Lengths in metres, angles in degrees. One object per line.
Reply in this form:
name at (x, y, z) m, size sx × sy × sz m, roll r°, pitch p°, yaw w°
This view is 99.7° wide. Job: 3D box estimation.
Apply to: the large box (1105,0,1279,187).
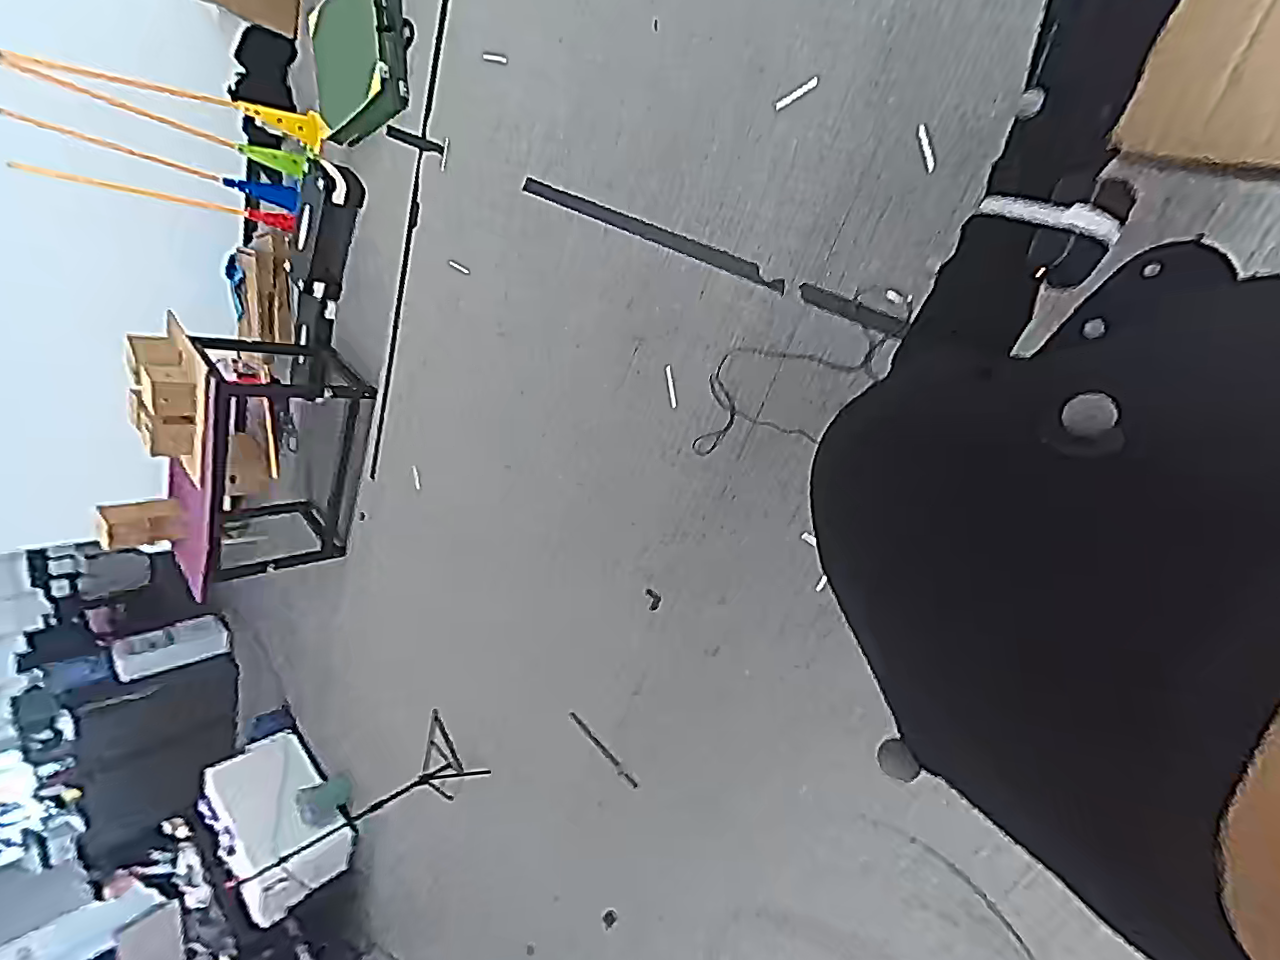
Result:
large box at (0.592, -0.345, 0.319) m, size 0.408 × 0.320 × 0.320 m, roll 26°, pitch 128°, yaw 31°
